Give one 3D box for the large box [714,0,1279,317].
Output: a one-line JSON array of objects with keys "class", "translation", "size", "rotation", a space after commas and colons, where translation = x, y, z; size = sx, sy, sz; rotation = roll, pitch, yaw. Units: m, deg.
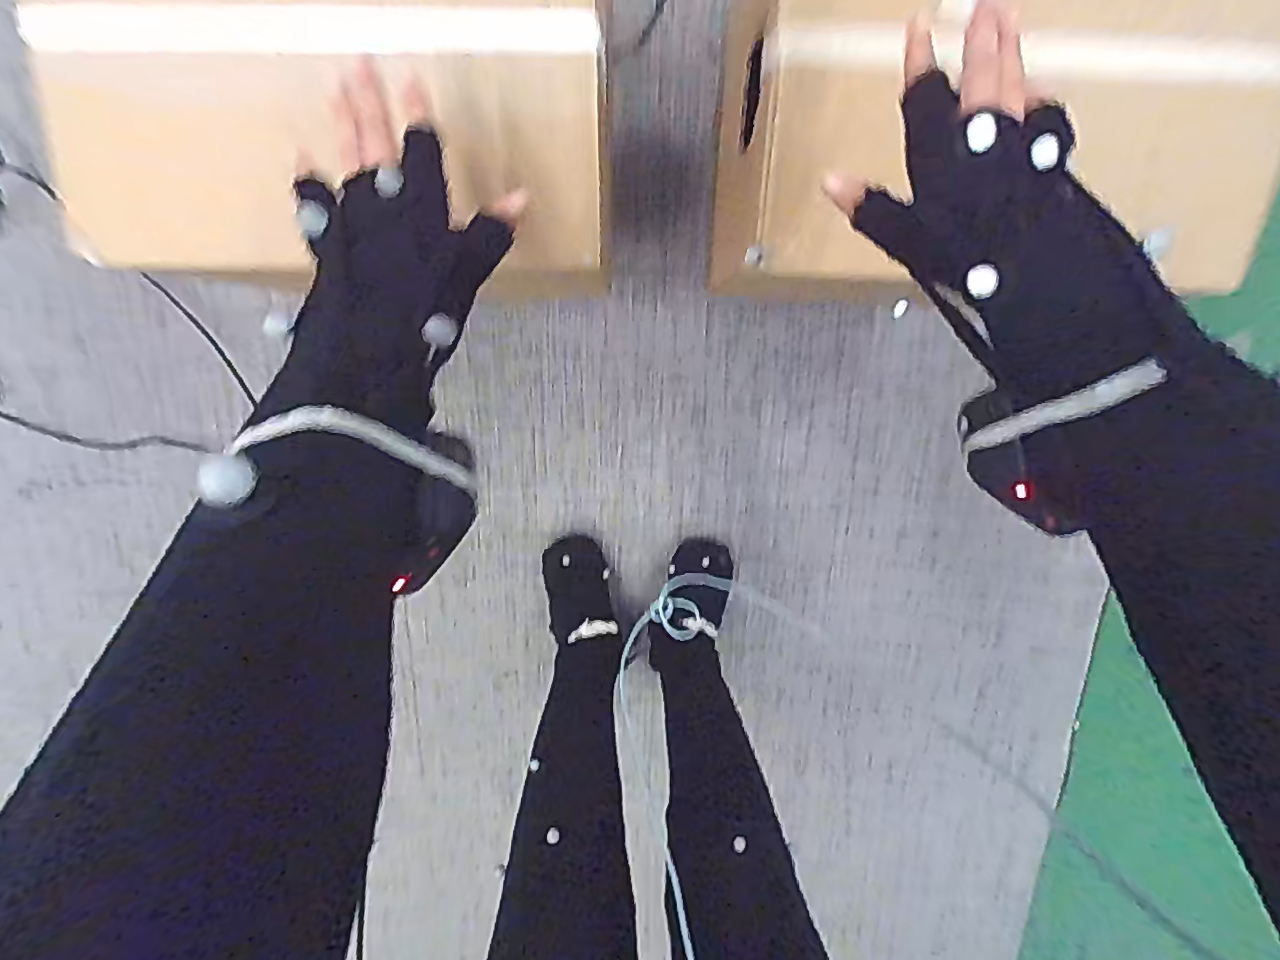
[{"class": "large box", "translation": [0.308, -0.343, 0.583], "size": [0.408, 0.320, 0.320], "rotation": [3, 104, -1]}]
